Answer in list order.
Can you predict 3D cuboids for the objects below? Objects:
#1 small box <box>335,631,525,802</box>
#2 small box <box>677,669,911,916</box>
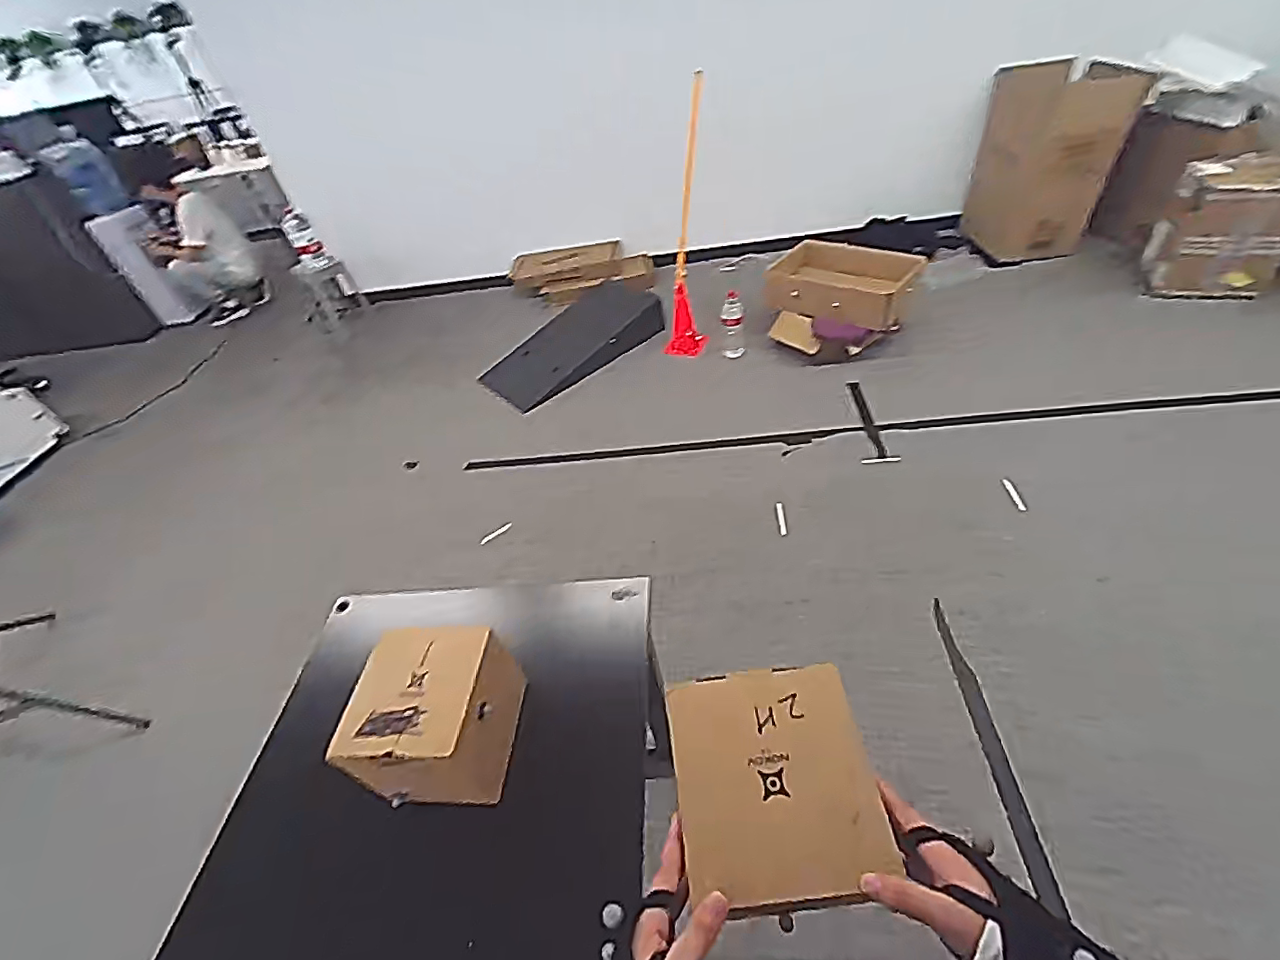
[{"bbox_3d":[-0.276,0.335,0.762,0.168,0.176,0.179,-4,43,9],"label":"small box"},{"bbox_3d":[0.130,0.307,0.525,0.168,0.176,0.179,-6,47,1],"label":"small box"}]
